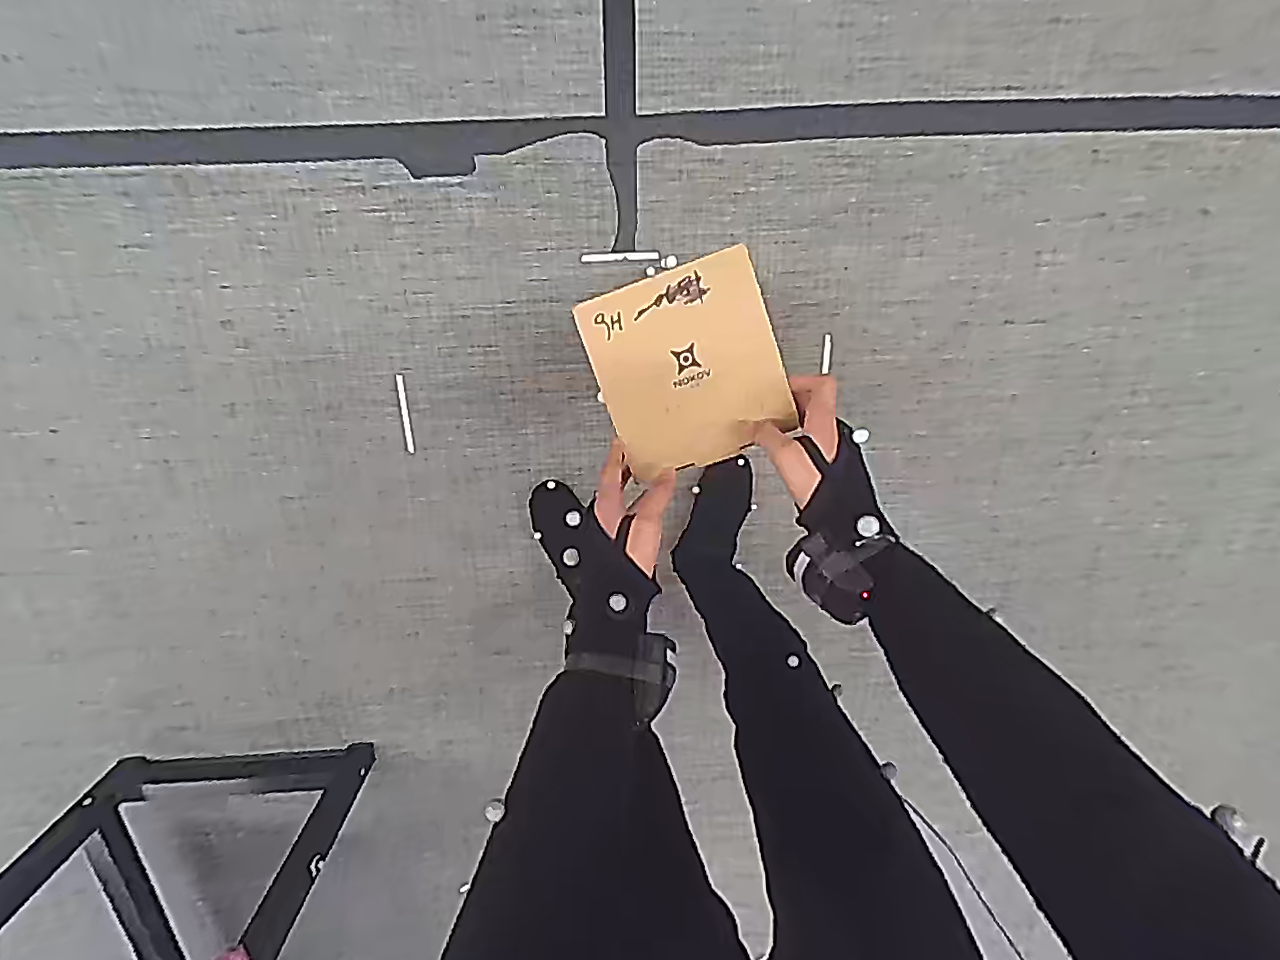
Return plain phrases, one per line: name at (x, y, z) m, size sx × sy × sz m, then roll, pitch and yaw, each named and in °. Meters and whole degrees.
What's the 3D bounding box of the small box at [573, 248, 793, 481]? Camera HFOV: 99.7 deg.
small box at (0.044, -0.119, 0.578) m, size 0.168 × 0.176 × 0.179 m, roll -19°, pitch 101°, yaw 4°
